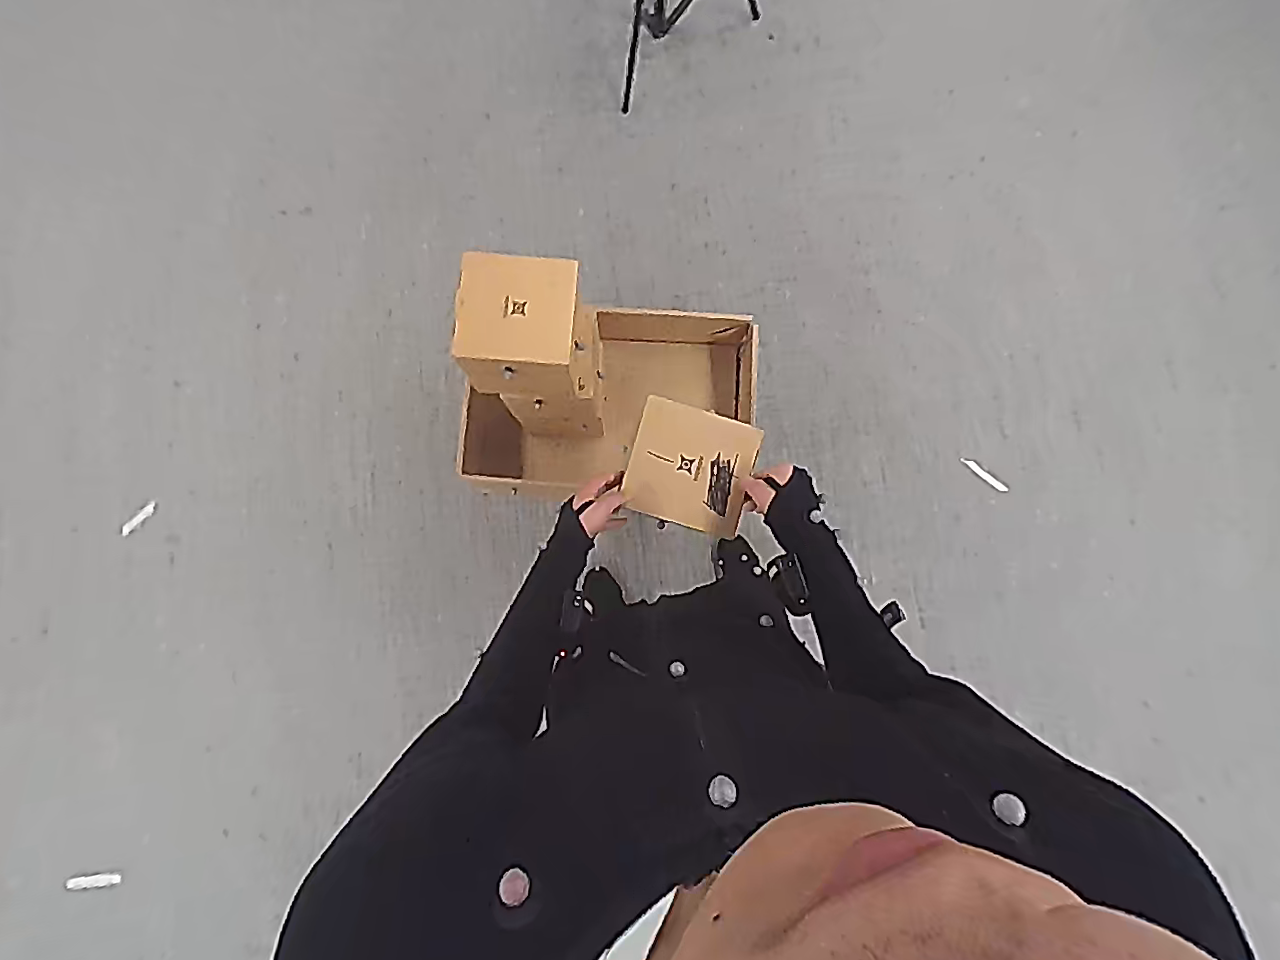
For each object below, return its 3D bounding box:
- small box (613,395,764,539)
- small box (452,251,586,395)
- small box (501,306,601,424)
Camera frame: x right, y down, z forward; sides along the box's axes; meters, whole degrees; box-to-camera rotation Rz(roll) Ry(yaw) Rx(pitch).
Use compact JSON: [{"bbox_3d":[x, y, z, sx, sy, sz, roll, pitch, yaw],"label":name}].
[{"bbox_3d":[0.064,-0.016,0.832,0.179,0.176,0.168,16,86,-4],"label":"small box"},{"bbox_3d":[-0.182,-0.241,0.871,0.179,0.176,0.168,4,82,-1],"label":"small box"},{"bbox_3d":[-0.162,-0.216,1.032,0.168,0.176,0.179,1,81,-1],"label":"small box"}]
